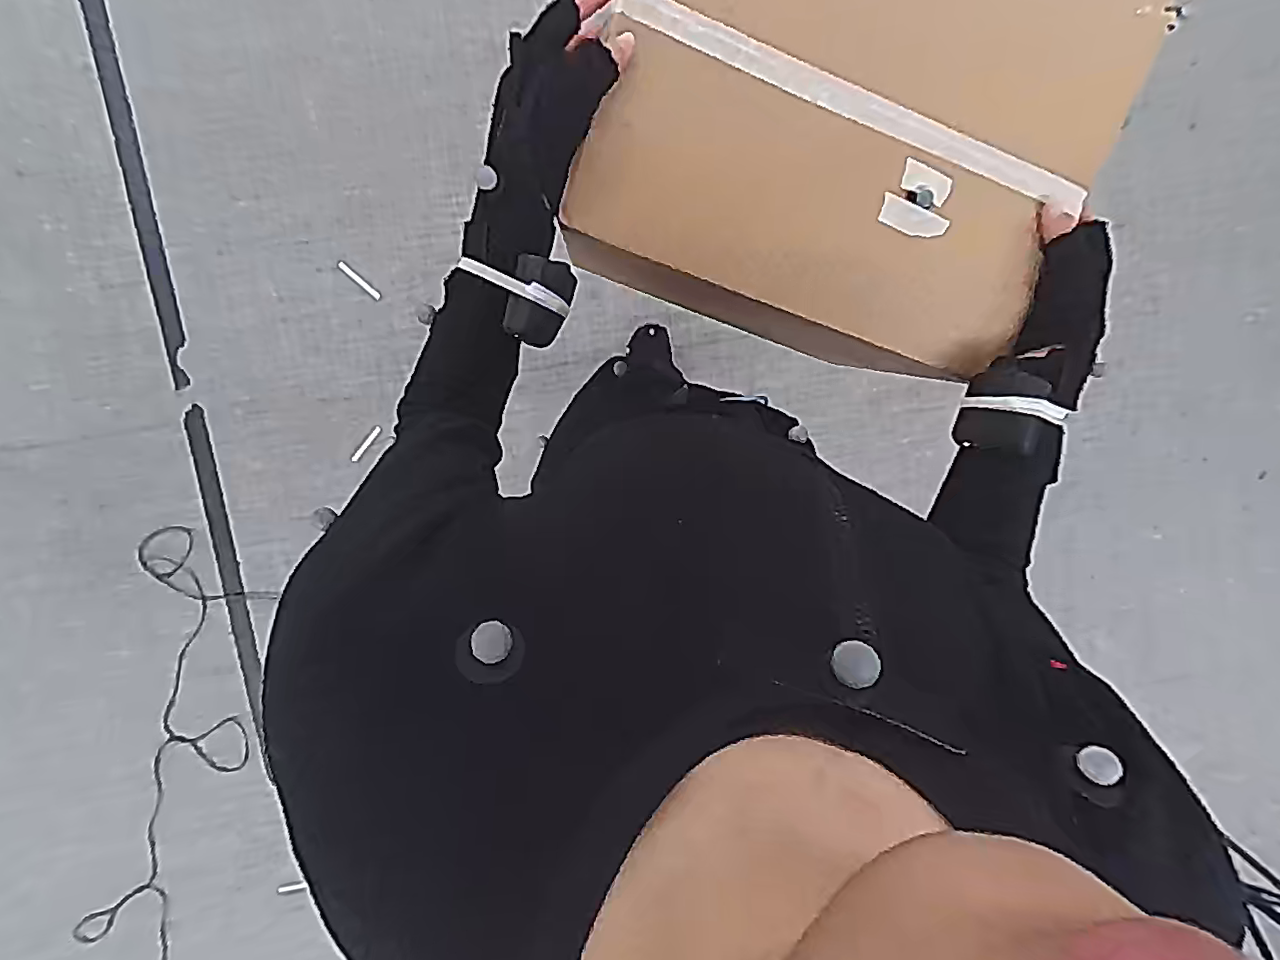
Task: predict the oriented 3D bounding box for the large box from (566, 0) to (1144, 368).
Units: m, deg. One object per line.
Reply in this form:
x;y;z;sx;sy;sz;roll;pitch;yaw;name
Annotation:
0.156;-0.338;0.575;0.408;0.320;0.320;17;105;-11;large box
